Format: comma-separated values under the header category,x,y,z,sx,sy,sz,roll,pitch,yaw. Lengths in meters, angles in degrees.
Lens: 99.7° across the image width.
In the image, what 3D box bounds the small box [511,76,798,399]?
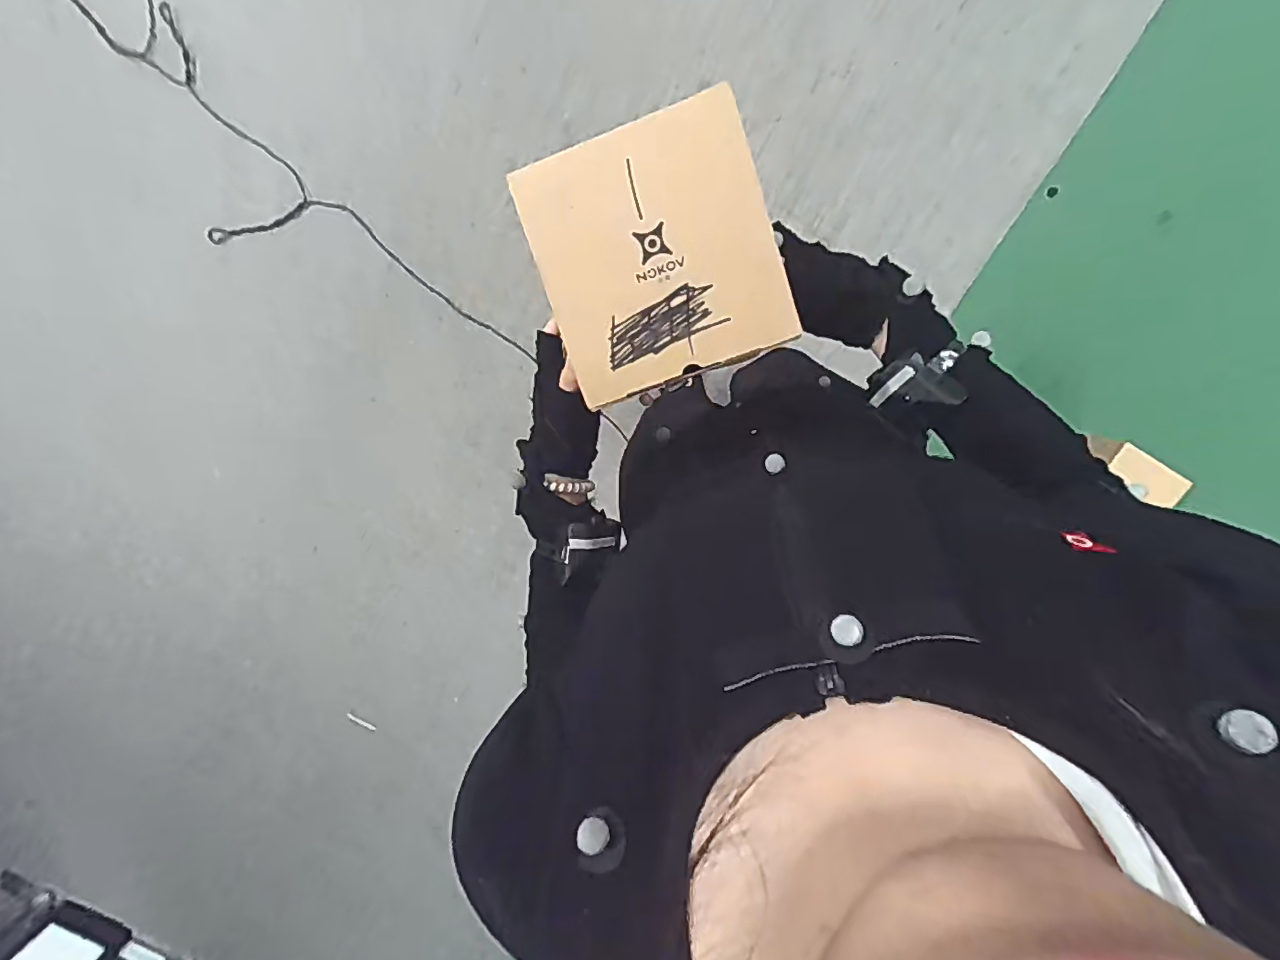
category,x,y,z,sx,sy,sz,roll,pitch,yaw
small box,0.018,-0.180,0.458,0.168,0.176,0.179,-17,100,7

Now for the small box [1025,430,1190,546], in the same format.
category,x,y,z,sx,sy,sz,roll,pitch,yaw
small box,0.998,0.008,1.176,0.168,0.176,0.179,31,104,-3
